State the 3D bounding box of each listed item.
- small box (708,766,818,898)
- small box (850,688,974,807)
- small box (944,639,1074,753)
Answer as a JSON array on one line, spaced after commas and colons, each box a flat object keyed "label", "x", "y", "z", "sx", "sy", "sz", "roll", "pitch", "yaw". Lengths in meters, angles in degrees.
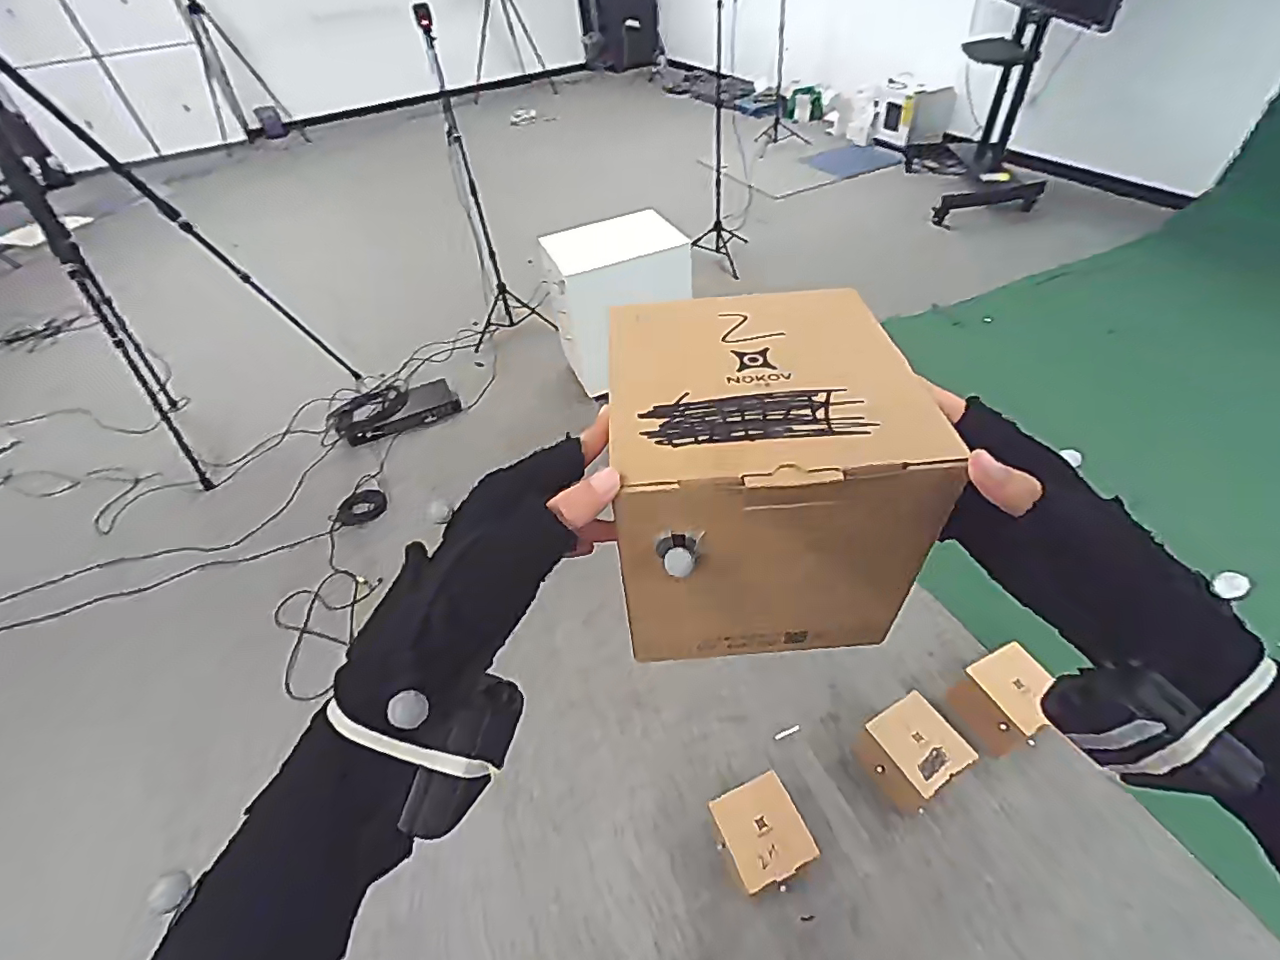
[{"label": "small box", "x": 0.257, "y": 0.765, "z": 1.174, "sx": 0.168, "sy": 0.176, "sz": 0.179, "roll": -21, "pitch": 48, "yaw": -12}, {"label": "small box", "x": 0.625, "y": 0.632, "z": 1.264, "sx": 0.168, "sy": 0.176, "sz": 0.179, "roll": -24, "pitch": 48, "yaw": -17}, {"label": "small box", "x": 0.893, "y": 0.533, "z": 1.331, "sx": 0.168, "sy": 0.176, "sz": 0.179, "roll": -22, "pitch": 48, "yaw": -13}]
